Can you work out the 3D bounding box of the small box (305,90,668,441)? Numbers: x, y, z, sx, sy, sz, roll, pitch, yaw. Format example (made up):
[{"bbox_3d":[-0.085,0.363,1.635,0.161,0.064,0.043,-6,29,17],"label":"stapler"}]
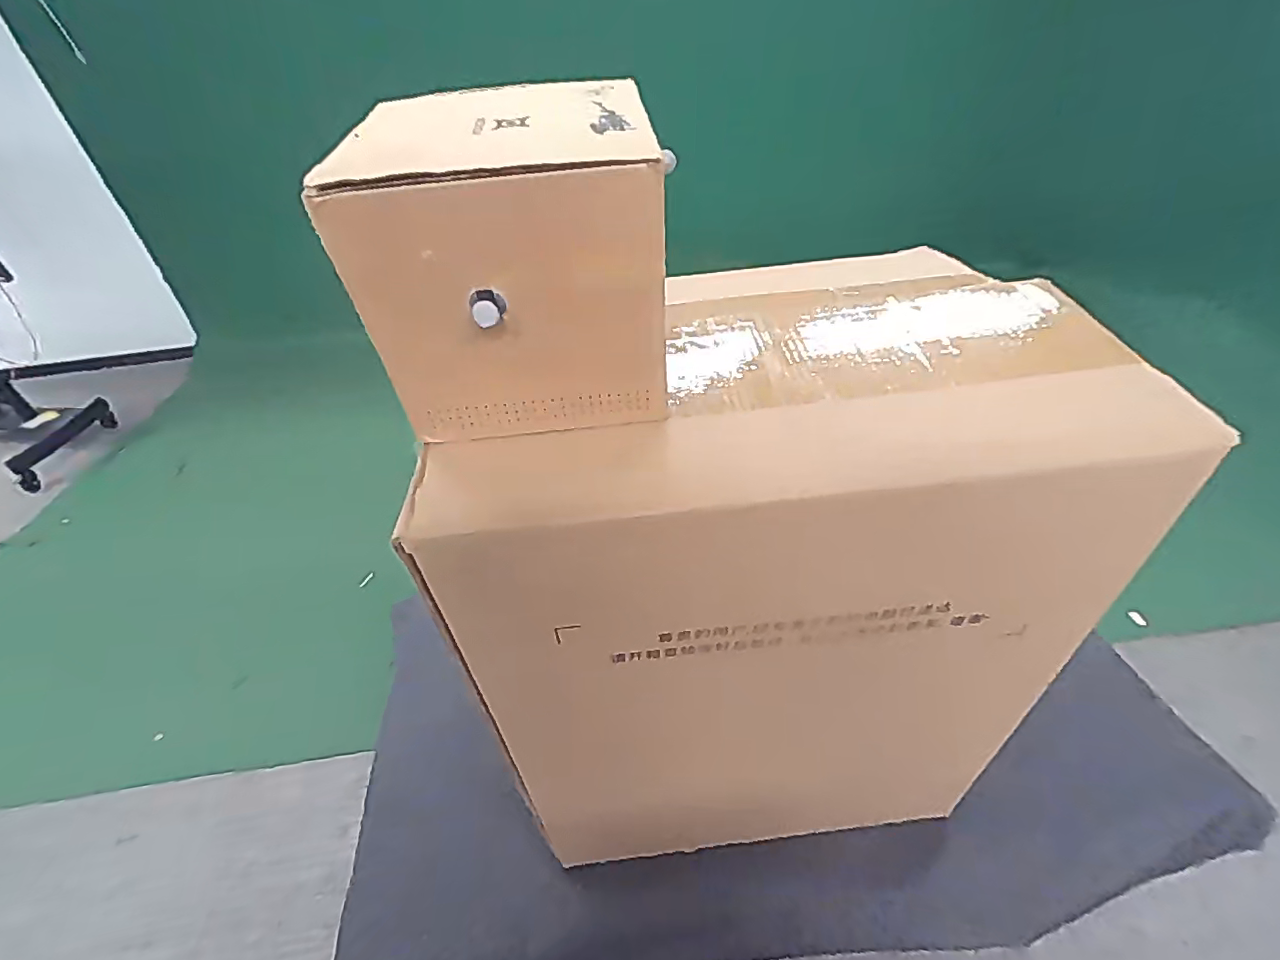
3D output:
[{"bbox_3d":[-0.079,-0.143,0.375,0.179,0.176,0.168,-7,47,-1],"label":"small box"}]
